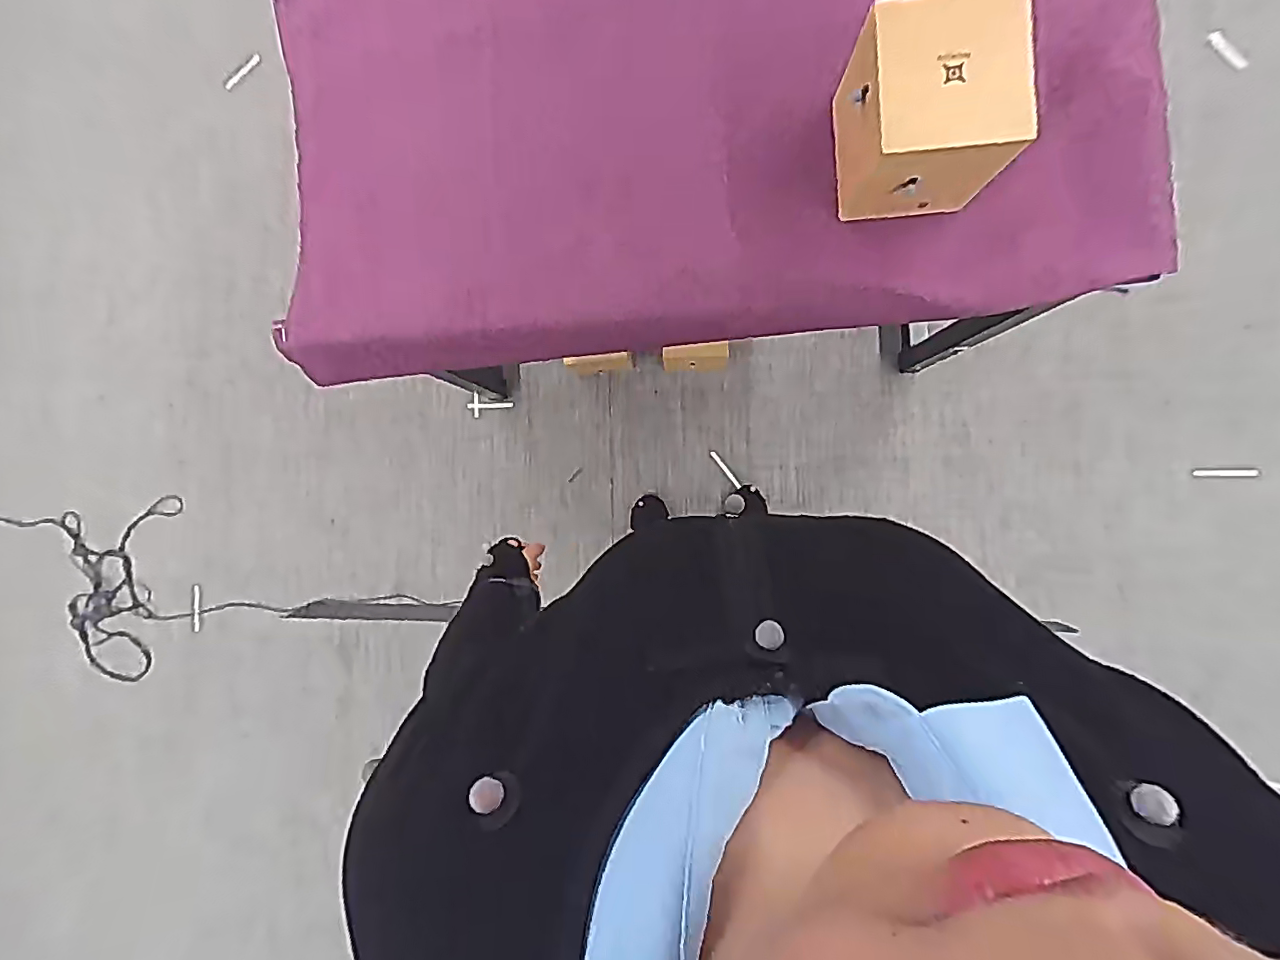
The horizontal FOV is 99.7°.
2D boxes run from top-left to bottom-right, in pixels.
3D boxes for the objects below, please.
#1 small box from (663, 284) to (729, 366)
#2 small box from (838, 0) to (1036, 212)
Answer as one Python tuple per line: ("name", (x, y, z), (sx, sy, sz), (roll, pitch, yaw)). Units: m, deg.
("small box", (0.146, -0.400, 1.423), (0.168, 0.176, 0.179), (0, 90, 4))
("small box", (0.355, -0.456, 0.675), (0.168, 0.176, 0.179), (-3, 90, 5))
